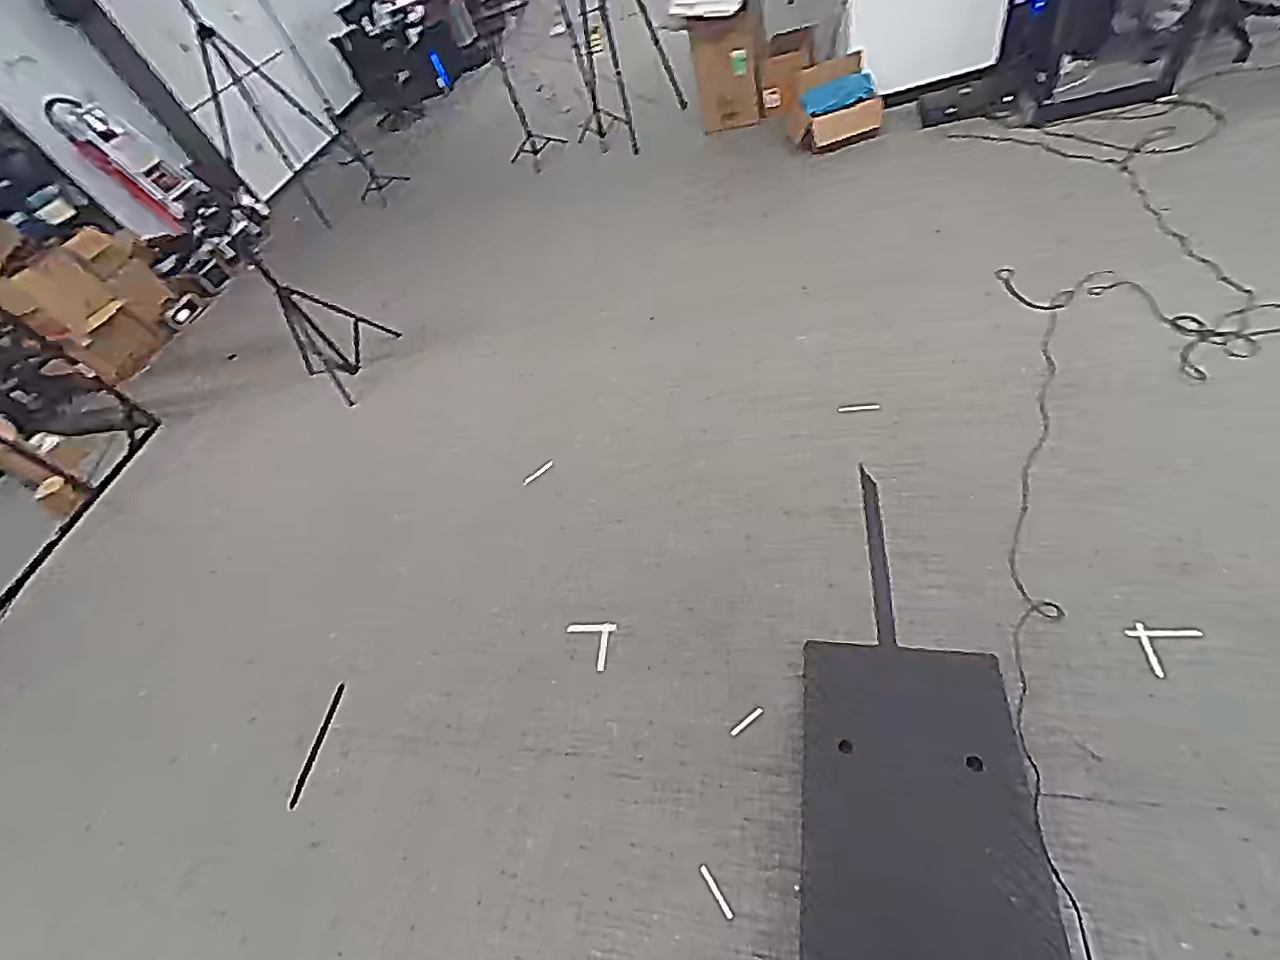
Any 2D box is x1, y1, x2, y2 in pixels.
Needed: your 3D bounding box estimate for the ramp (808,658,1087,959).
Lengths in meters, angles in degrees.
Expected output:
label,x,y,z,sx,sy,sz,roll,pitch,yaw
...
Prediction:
label,x,y,z,sx,sy,sz,roll,pitch,yaw
ramp,0.623,0.841,1.161,0.509,0.206,0.991,-6,50,19
